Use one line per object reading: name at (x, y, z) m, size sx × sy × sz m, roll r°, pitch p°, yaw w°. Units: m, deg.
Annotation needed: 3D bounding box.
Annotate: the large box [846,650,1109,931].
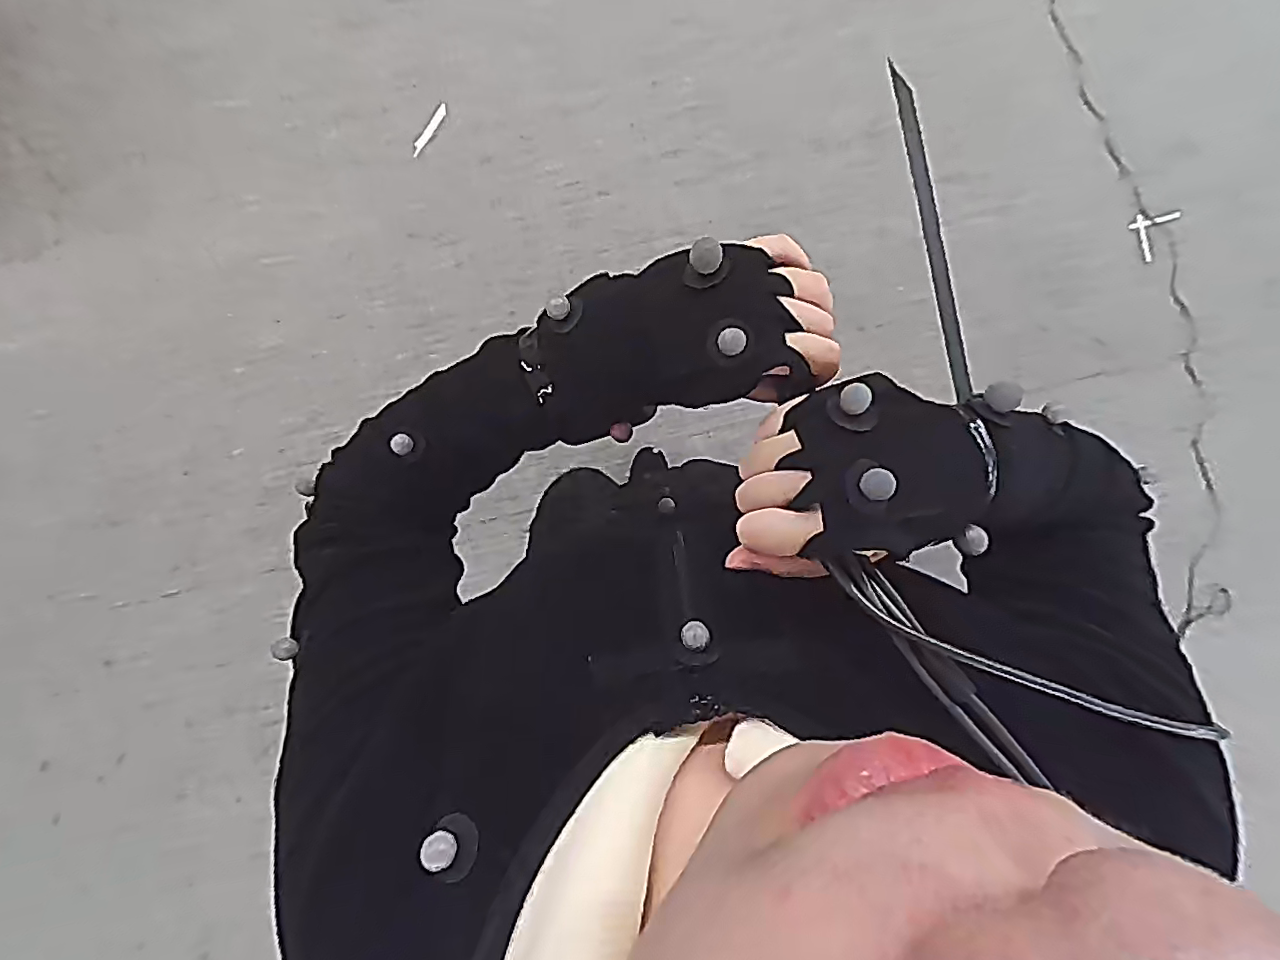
large box at (0.713, 0.649, 1.200) m, size 0.320 × 0.320 × 0.408 m, roll 17°, pitch 91°, yaw -1°
